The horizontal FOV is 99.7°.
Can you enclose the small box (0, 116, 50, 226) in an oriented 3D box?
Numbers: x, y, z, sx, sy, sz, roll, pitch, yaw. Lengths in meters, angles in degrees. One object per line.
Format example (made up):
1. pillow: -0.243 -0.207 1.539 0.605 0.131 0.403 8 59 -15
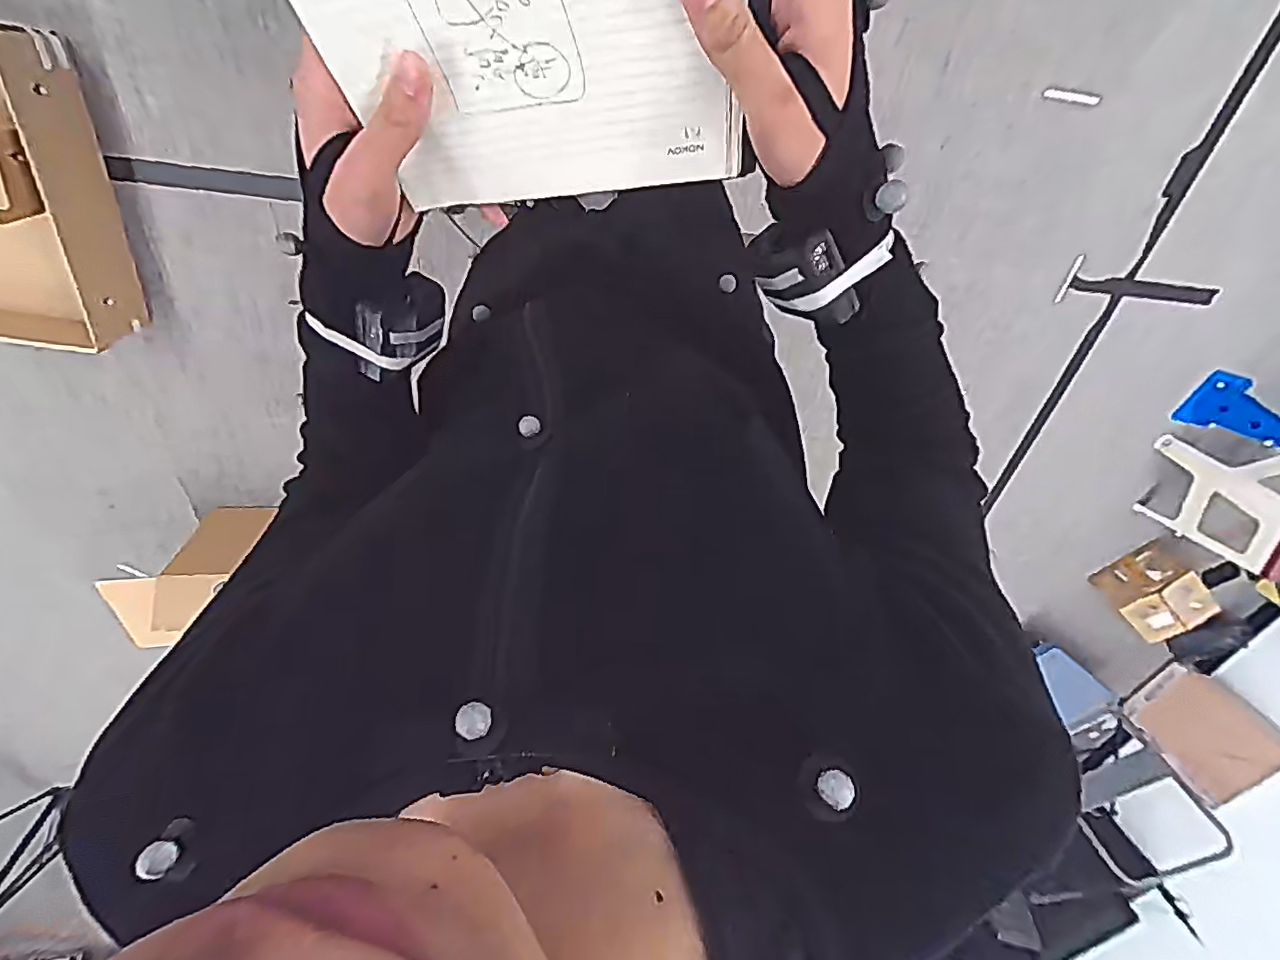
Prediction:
1. small box: -1.328 -0.630 1.063 0.179 0.176 0.168 13 124 -17
